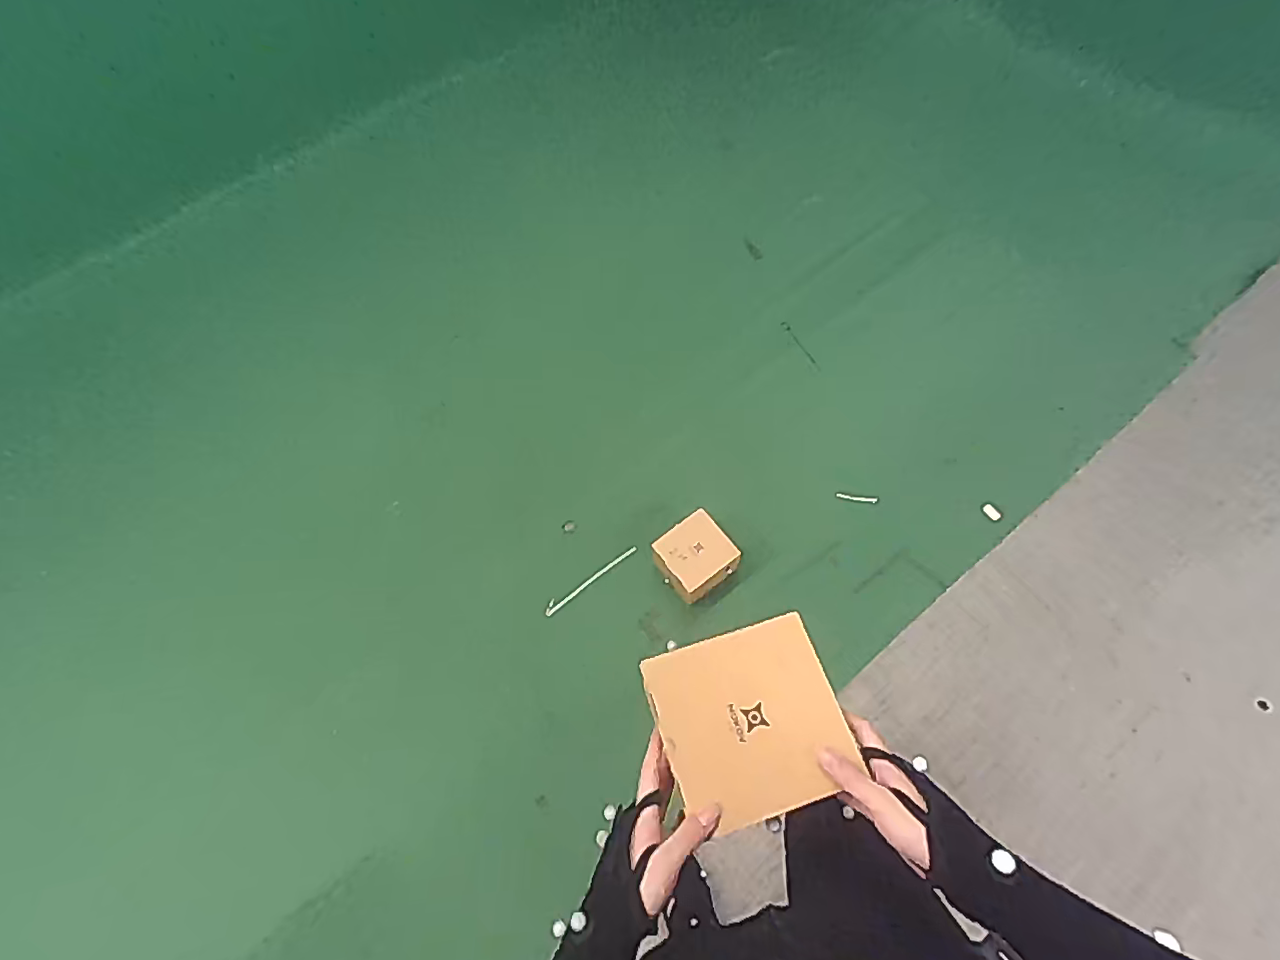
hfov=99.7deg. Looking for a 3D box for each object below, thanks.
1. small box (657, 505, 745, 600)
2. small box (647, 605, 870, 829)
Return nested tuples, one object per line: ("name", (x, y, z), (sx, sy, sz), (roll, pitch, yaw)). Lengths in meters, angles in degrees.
("small box", (0.162, 0.203, 1.487), (0.179, 0.176, 0.168), (-35, 68, -11))
("small box", (0.115, 0.256, 0.601), (0.179, 0.176, 0.168), (-17, 65, -4))
